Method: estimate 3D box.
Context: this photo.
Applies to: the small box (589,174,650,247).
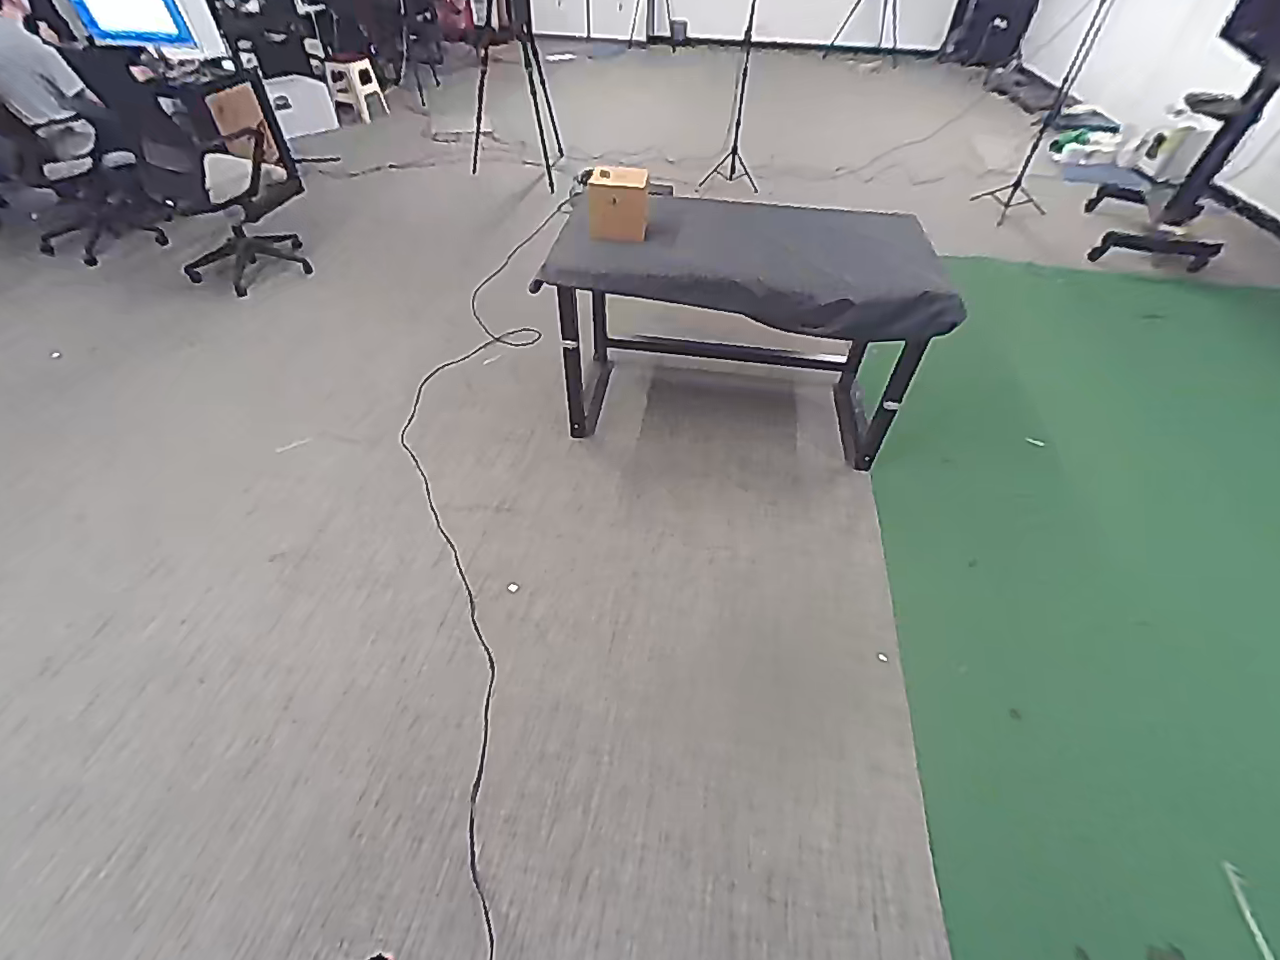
[{"bbox_3d":[-0.064,-0.872,1.751,0.179,0.176,0.168,5,46,2],"label":"small box"}]
